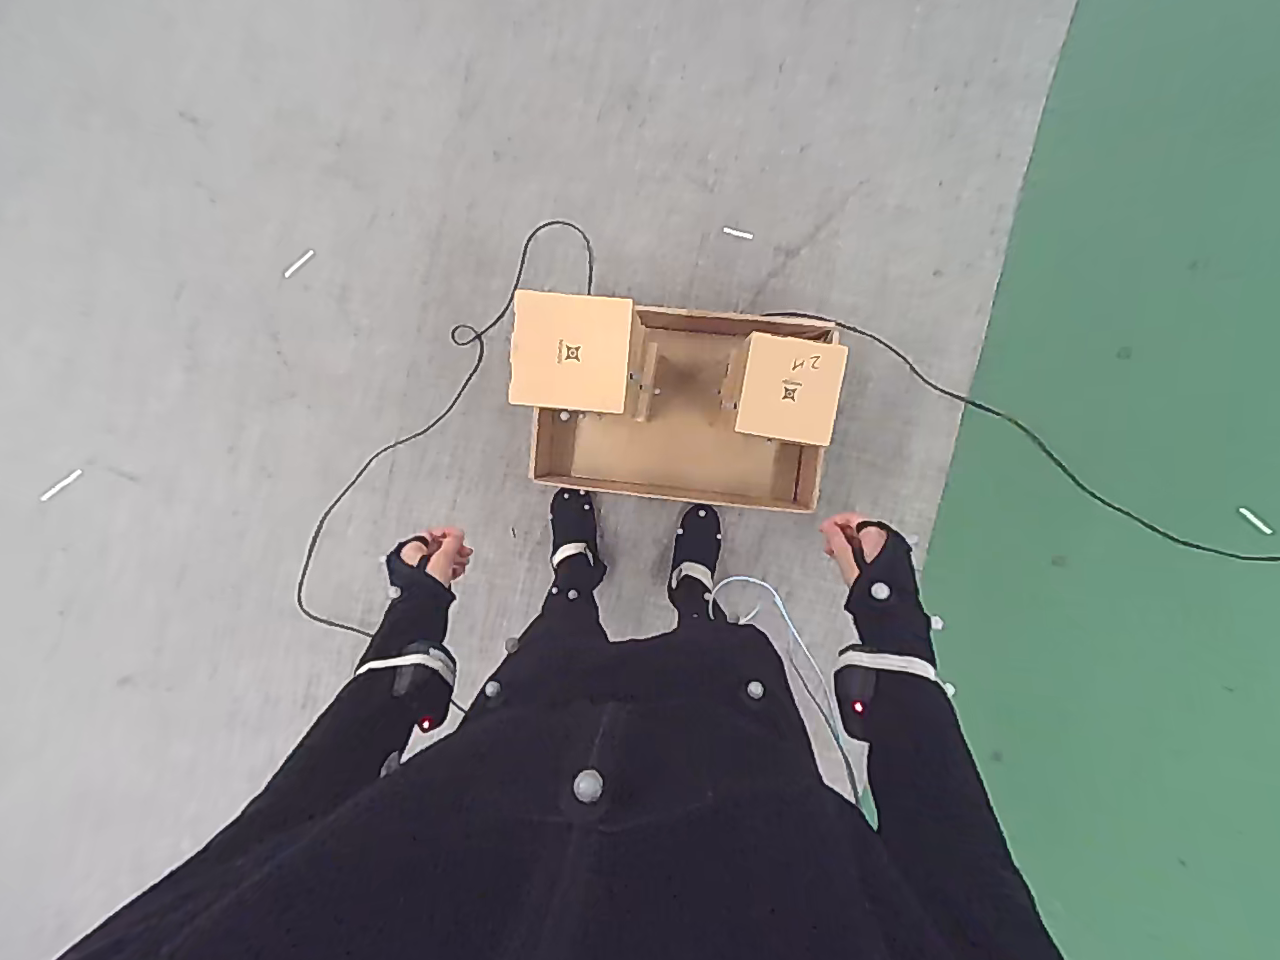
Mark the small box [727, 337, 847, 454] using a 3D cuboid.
[{"bbox_3d":[0.262,-0.150,1.005,0.168,0.176,0.179,11,94,2],"label":"small box"}]

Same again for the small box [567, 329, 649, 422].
[{"bbox_3d":[-0.084,-0.204,1.025,0.179,0.176,0.168,11,96,2],"label":"small box"}]

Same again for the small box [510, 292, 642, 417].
[{"bbox_3d":[-0.093,-0.191,0.864,0.179,0.176,0.168,6,96,4],"label":"small box"}]

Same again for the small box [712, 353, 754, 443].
[{"bbox_3d":[0.257,-0.166,1.170,0.179,0.176,0.168,11,95,4],"label":"small box"}]
